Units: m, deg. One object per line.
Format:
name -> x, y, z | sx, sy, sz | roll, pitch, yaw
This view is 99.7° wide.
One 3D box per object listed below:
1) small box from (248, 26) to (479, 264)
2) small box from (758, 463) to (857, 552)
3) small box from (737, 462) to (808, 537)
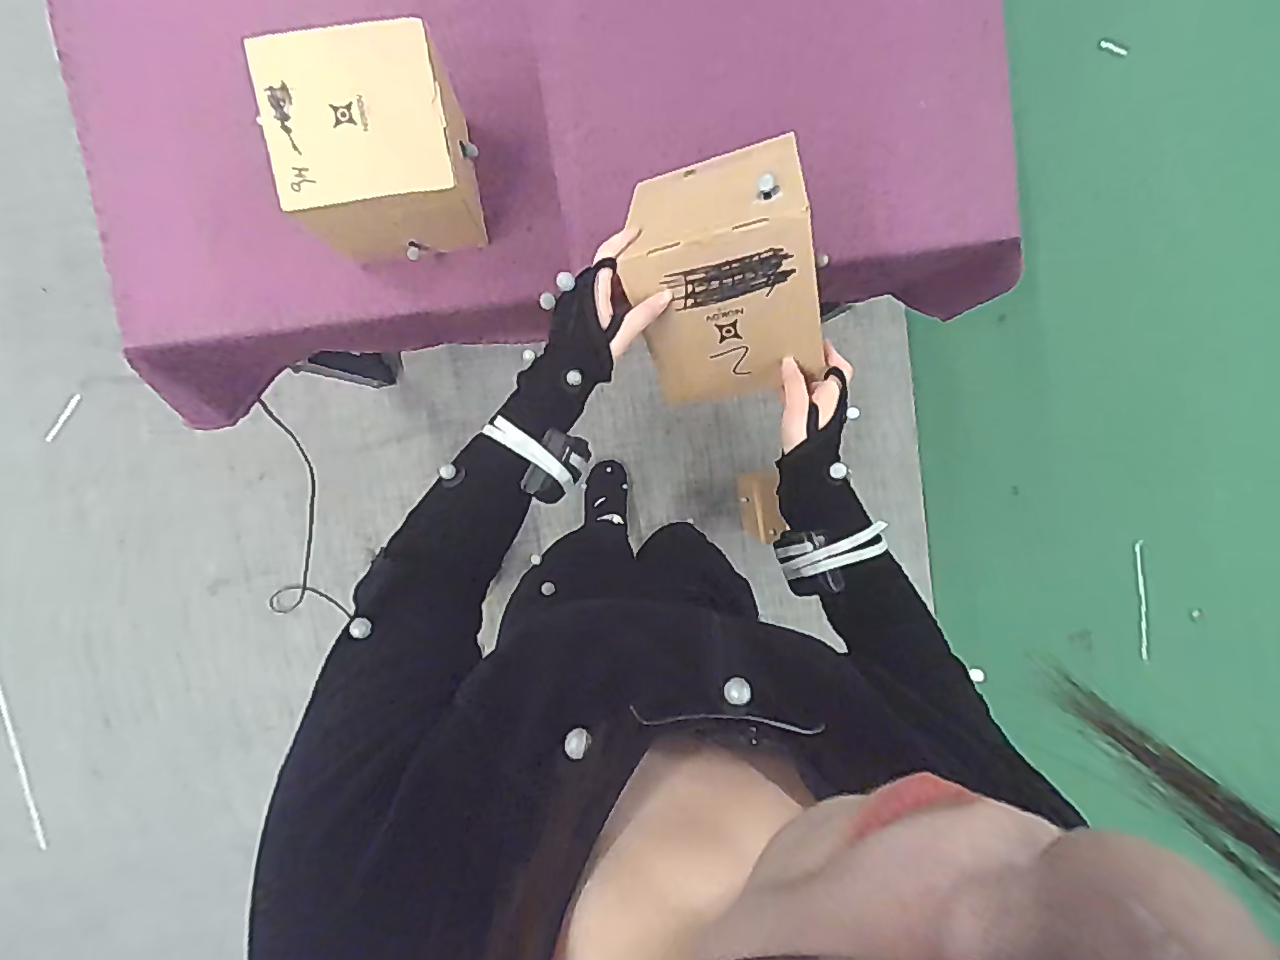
small box -> -0.291, -0.363, 0.616 | 0.179, 0.176, 0.168 | -10, 94, -5
small box -> 0.390, 0.058, 1.280 | 0.168, 0.176, 0.179 | -8, 95, -6
small box -> 0.367, 0.047, 1.441 | 0.179, 0.176, 0.168 | -11, 96, -5
